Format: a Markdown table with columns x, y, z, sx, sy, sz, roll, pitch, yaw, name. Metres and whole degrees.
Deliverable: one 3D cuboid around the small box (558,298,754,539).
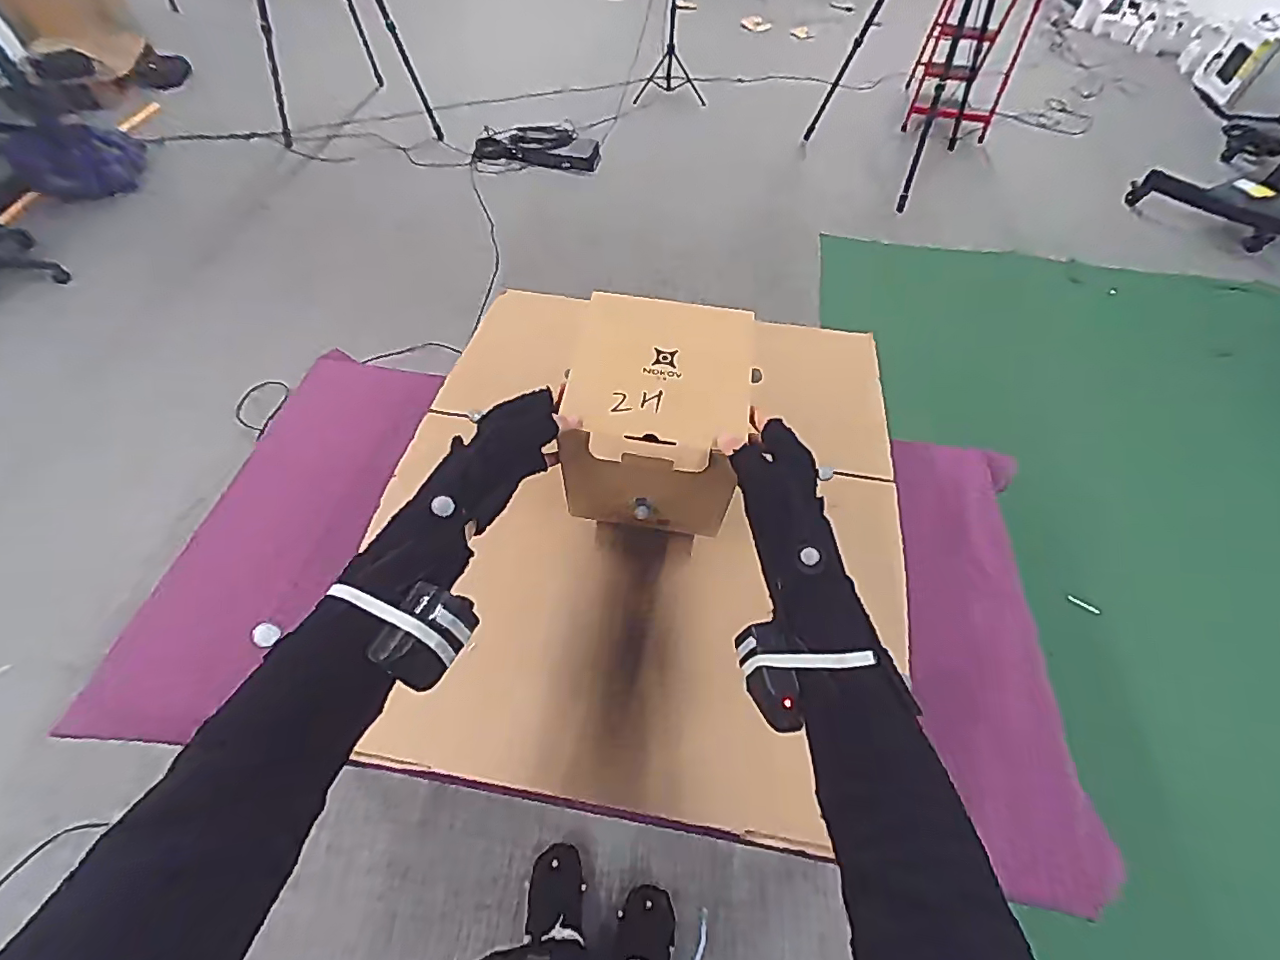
| x | y | z | sx | sy | sz | roll | pitch | yaw | name |
| --- | --- | --- | --- | --- | --- | --- | --- | --- | --- |
| 0.018 | -0.059 | 0.571 | 0.168 | 0.176 | 0.179 | 8 | 60 | 3 | small box |
